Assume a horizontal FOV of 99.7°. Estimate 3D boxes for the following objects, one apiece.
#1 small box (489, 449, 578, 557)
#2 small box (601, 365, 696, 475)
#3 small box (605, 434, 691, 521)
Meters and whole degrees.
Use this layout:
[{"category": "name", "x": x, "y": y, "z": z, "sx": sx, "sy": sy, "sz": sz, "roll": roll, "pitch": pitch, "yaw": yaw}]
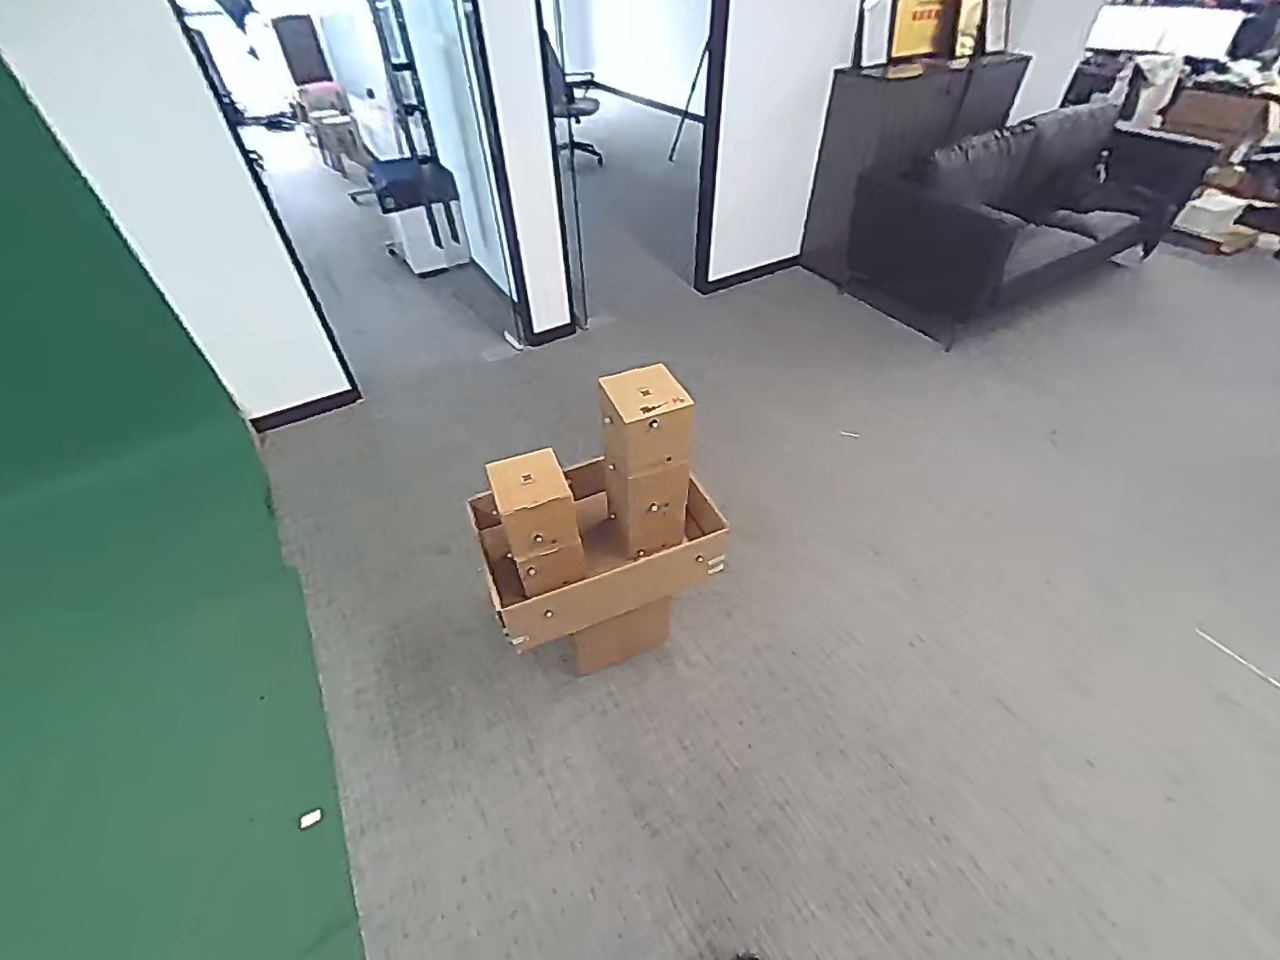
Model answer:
[{"category": "small box", "x": -0.255, "y": 0.056, "z": 1.310, "sx": 0.168, "sy": 0.176, "sz": 0.179, "roll": -16, "pitch": 47, "yaw": -15}, {"category": "small box", "x": 0.017, "y": -0.141, "z": 1.270, "sx": 0.168, "sy": 0.176, "sz": 0.179, "roll": -18, "pitch": 47, "yaw": -15}, {"category": "small box", "x": 0.017, "y": -0.025, "z": 1.385, "sx": 0.168, "sy": 0.176, "sz": 0.179, "roll": -17, "pitch": 48, "yaw": -15}]
